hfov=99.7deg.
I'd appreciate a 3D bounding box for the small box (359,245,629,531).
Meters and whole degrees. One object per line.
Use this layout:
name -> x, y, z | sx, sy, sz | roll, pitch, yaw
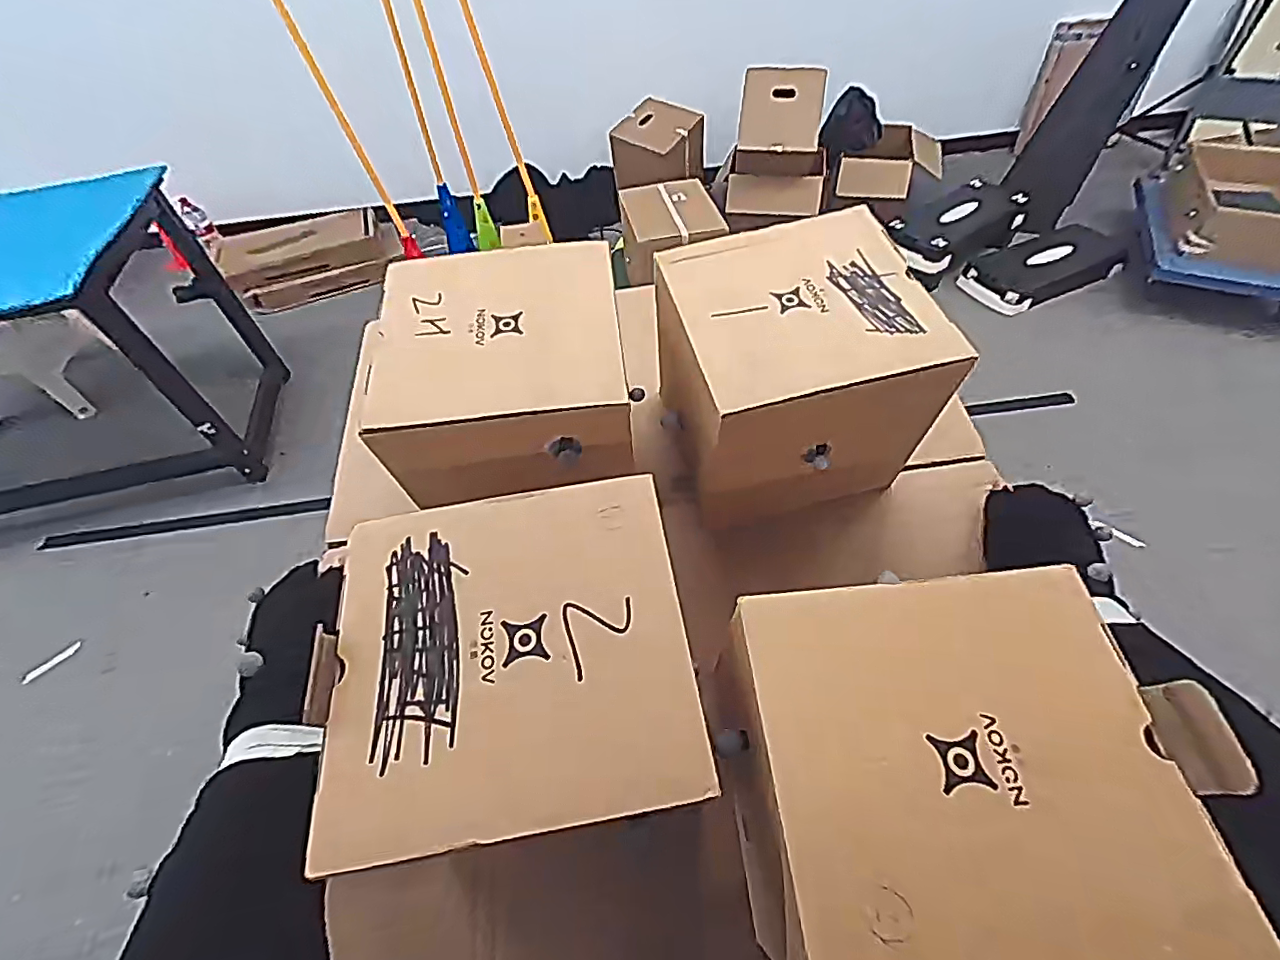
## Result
small box -> -0.103, -0.070, 0.464 | 0.179, 0.176, 0.168 | -7, 59, 0
